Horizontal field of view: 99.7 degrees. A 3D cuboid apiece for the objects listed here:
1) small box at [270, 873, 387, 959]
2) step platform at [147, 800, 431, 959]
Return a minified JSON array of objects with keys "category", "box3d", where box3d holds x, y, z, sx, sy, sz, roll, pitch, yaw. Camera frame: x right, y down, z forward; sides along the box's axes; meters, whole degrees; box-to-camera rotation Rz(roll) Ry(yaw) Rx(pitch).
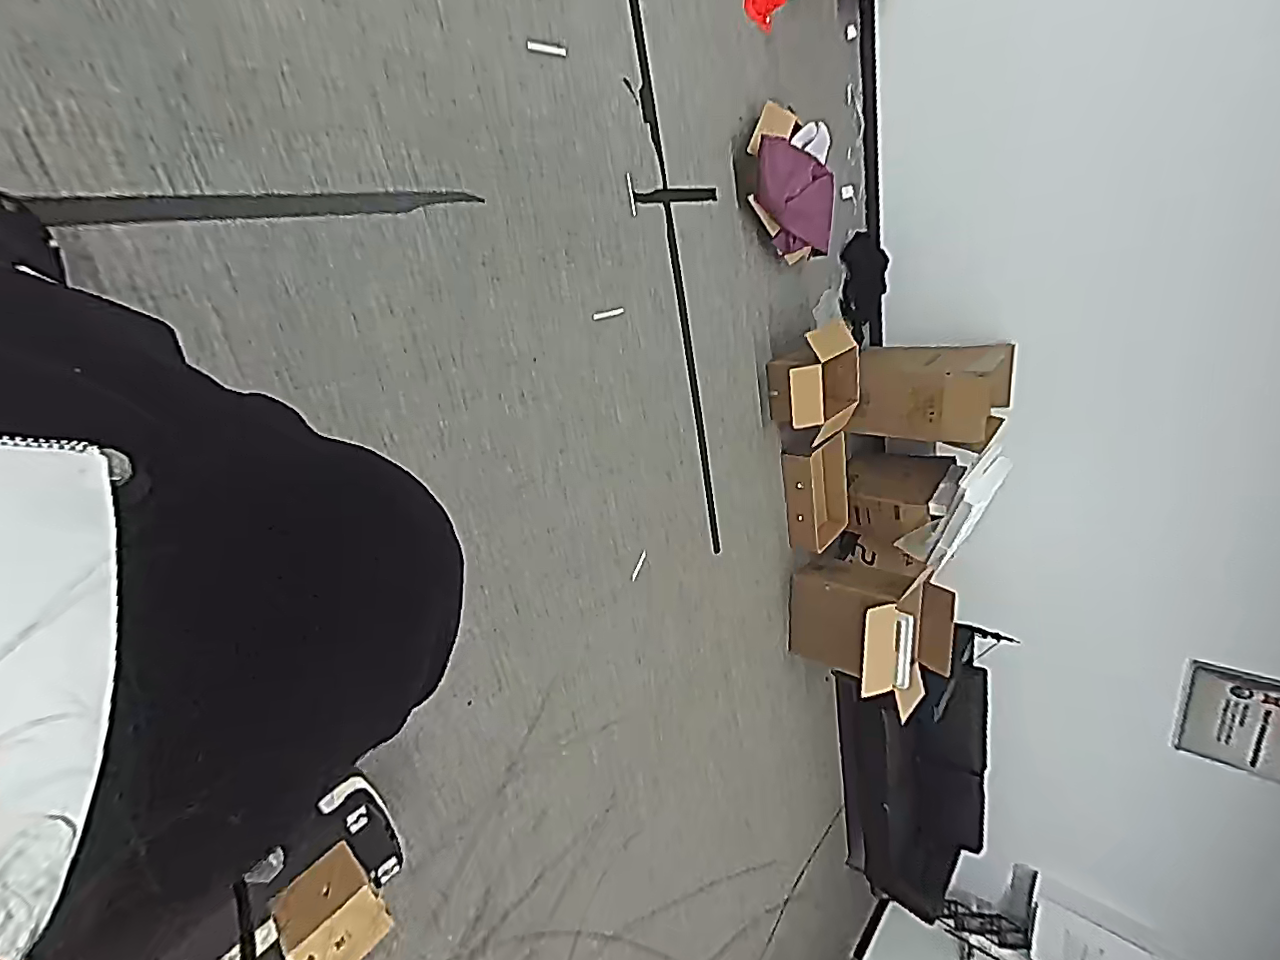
[{"category":"small box","box3d":[-0.718,0.987,1.245,0.179,0.176,0.168,-34,120,-38]},{"category":"step platform","box3d":[-0.804,1.024,1.108,0.684,0.204,0.286,-31,119,-39]}]
